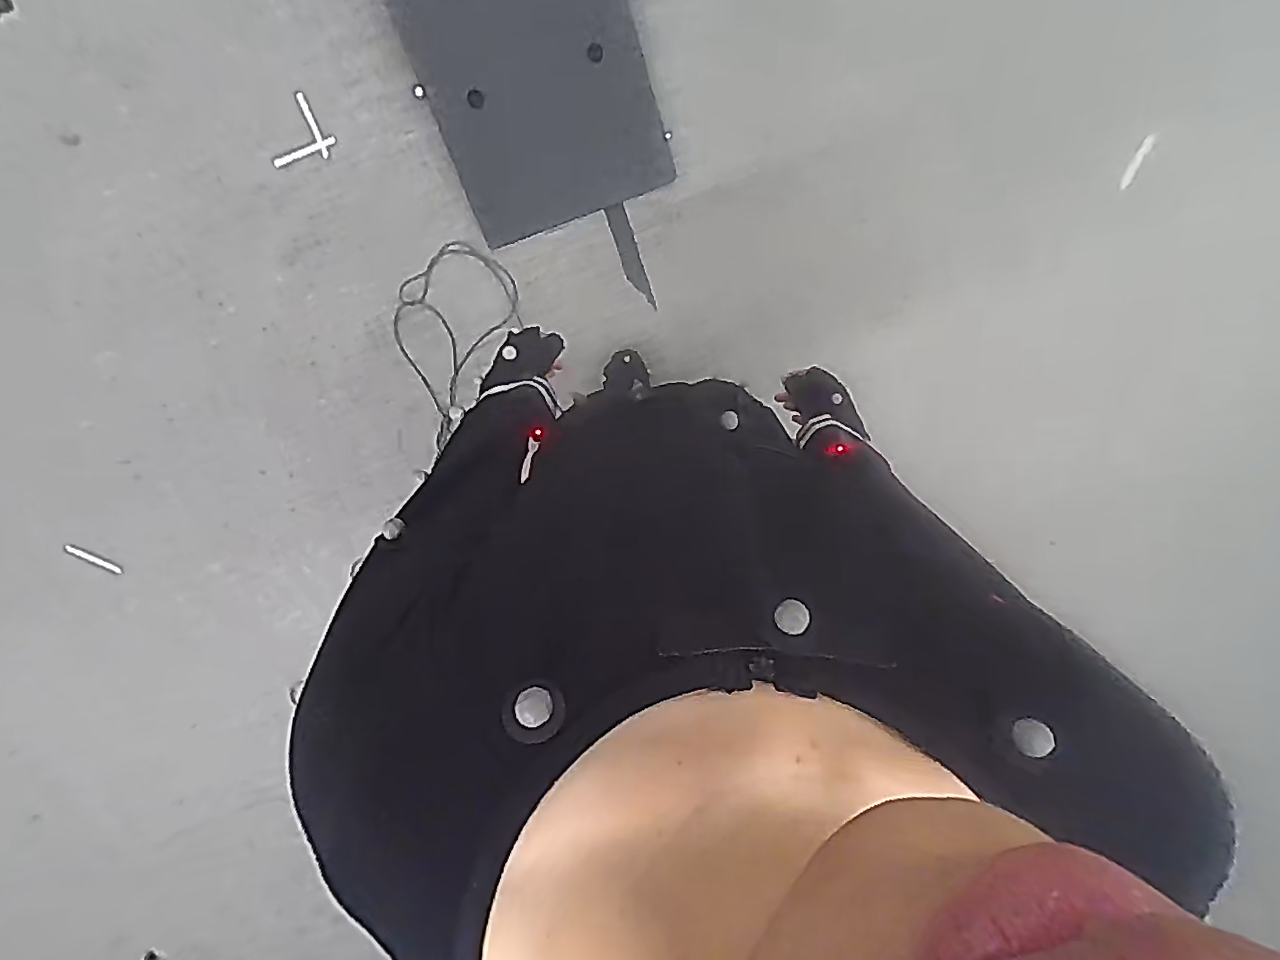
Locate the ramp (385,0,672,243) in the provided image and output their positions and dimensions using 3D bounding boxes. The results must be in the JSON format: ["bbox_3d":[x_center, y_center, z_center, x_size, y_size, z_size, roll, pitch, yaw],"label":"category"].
[{"bbox_3d":[-0.302,-1.085,1.121,0.509,0.206,0.991,-22,104,0],"label":"ramp"}]
